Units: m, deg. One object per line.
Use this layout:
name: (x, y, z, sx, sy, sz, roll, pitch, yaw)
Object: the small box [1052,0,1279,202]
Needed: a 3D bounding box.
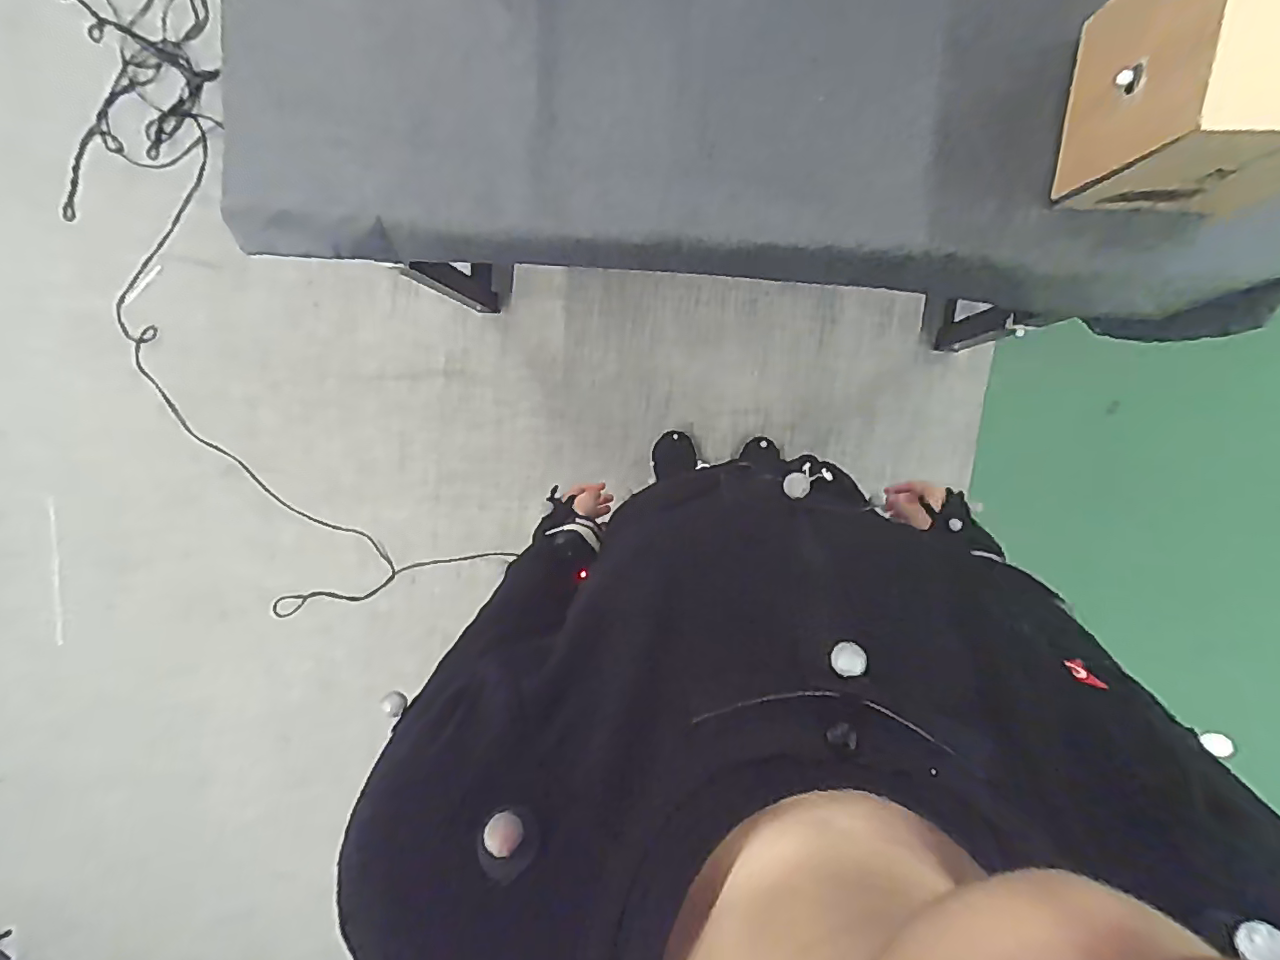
small box: (0.502, -0.354, 0.456, 0.168, 0.179, 0.176, 4, 100, 5)
